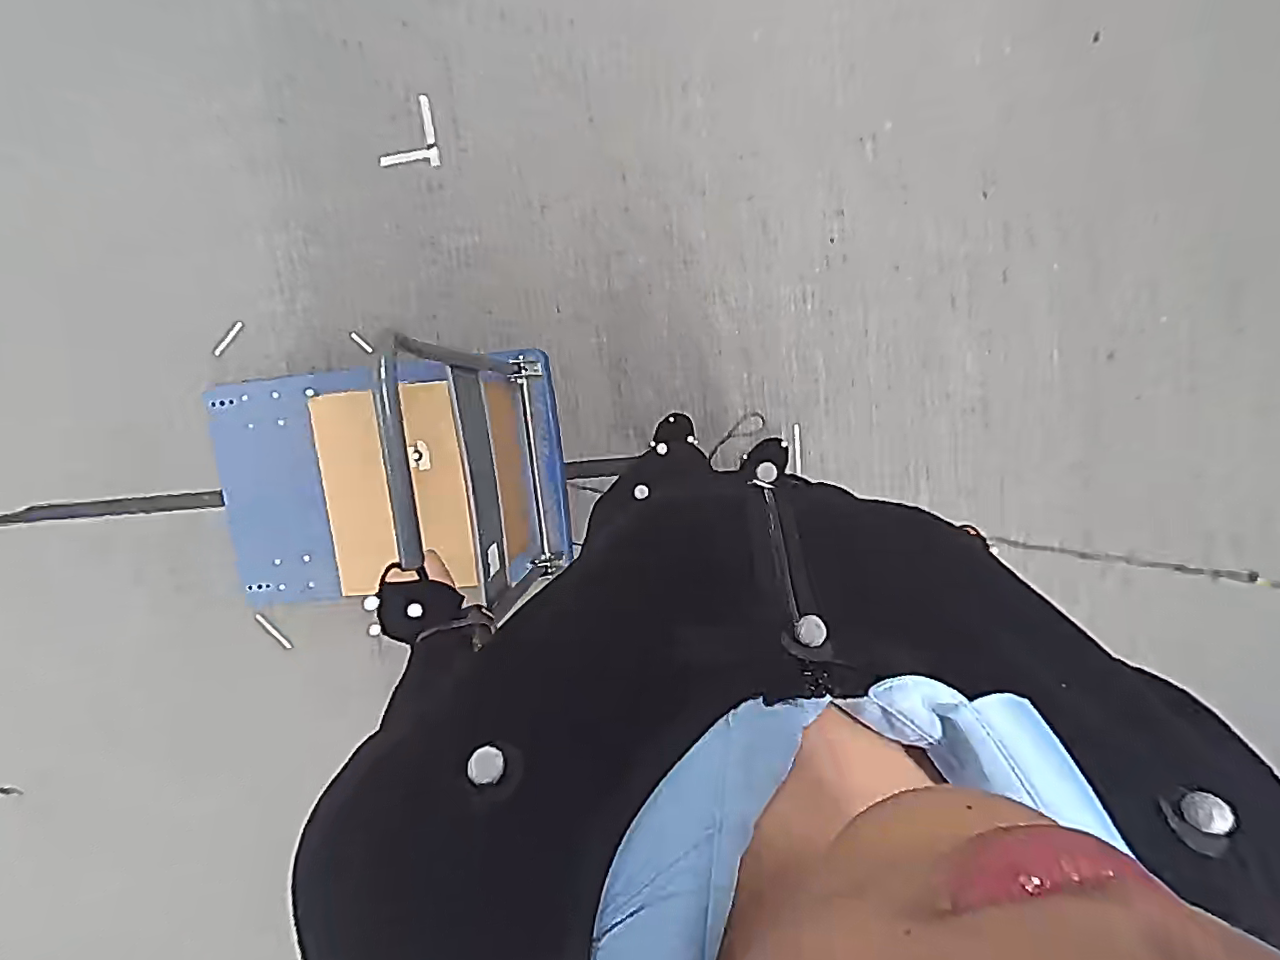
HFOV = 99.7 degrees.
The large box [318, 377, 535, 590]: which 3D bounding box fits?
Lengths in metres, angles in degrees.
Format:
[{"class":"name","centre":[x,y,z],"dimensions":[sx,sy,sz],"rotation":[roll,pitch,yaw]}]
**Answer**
[{"class":"large box","centre":[-0.443,-0.004,1.208],"dimensions":[0.320,0.320,0.408],"rotation":[-5,97,3]}]
